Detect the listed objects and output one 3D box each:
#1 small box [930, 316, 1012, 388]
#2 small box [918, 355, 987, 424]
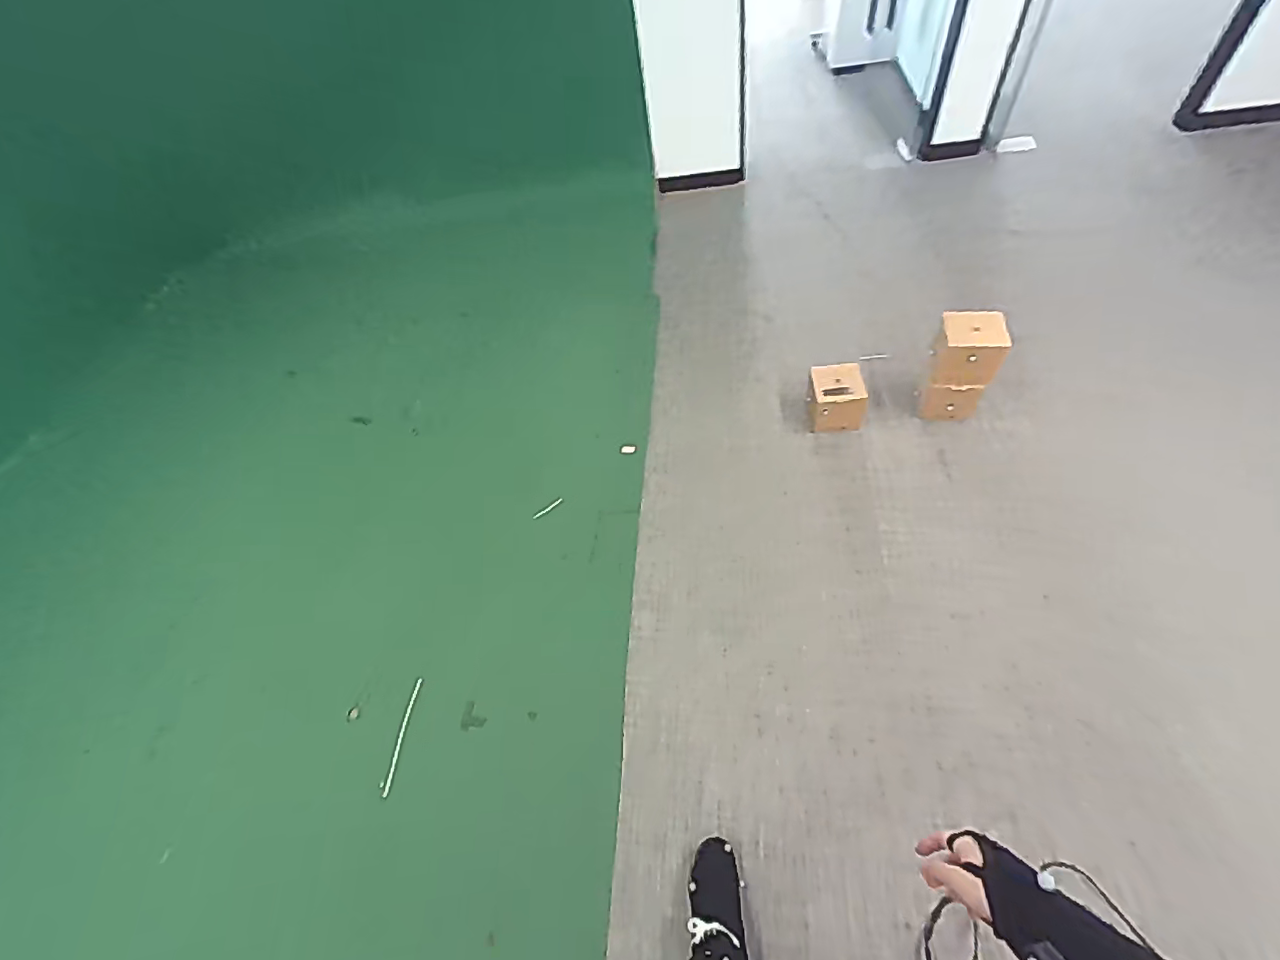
[{"bbox_3d":[1.071,-0.414,1.762,0.179,0.176,0.168,3,56,14],"label":"small box"},{"bbox_3d":[1.086,-0.315,1.891,0.168,0.176,0.179,5,57,14],"label":"small box"}]
